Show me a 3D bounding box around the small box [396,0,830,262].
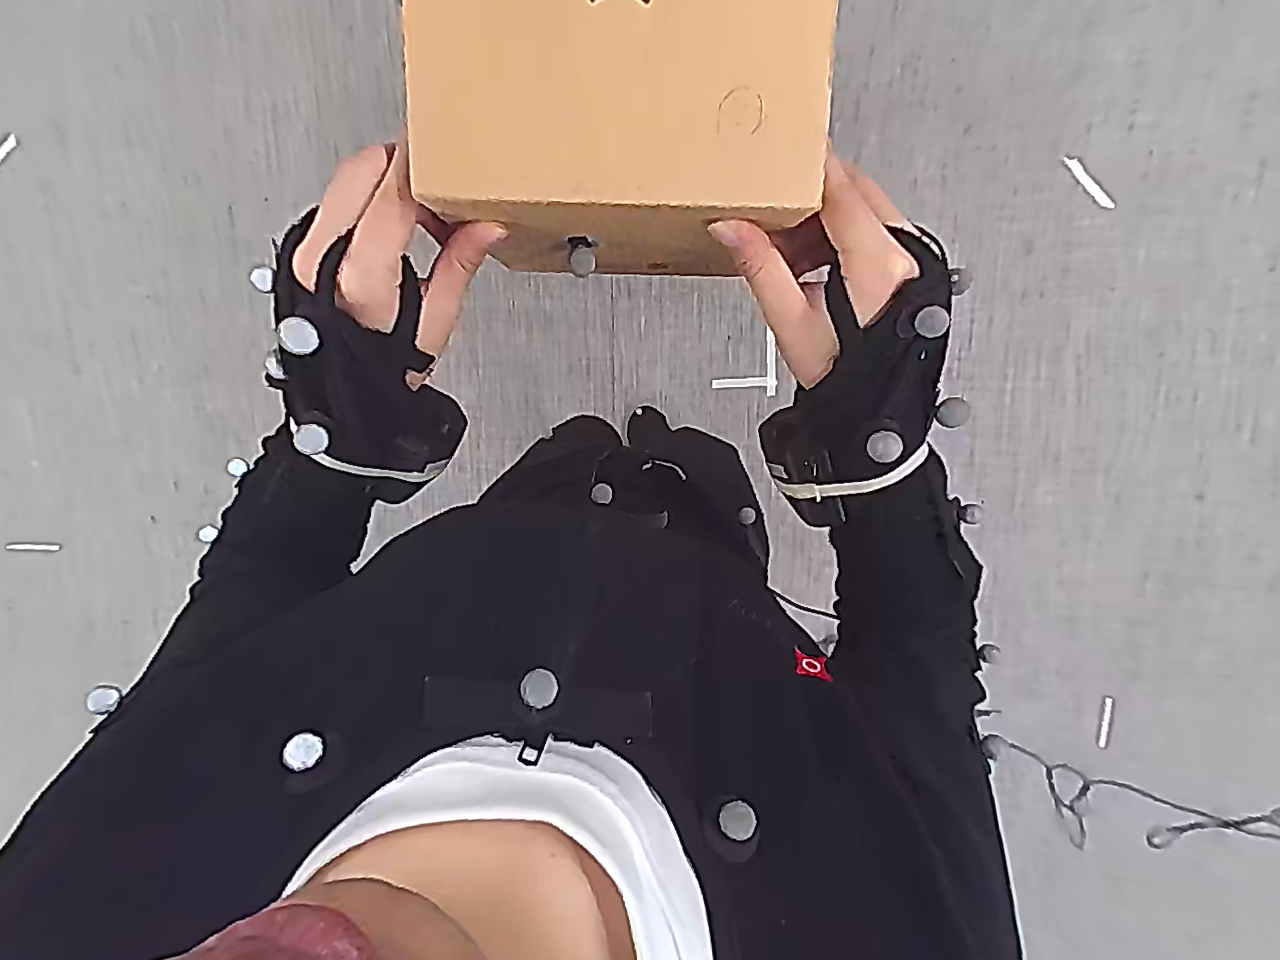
[{"bbox_3d":[-0.008,-0.217,0.276,0.168,0.176,0.179,1,100,0],"label":"small box"}]
